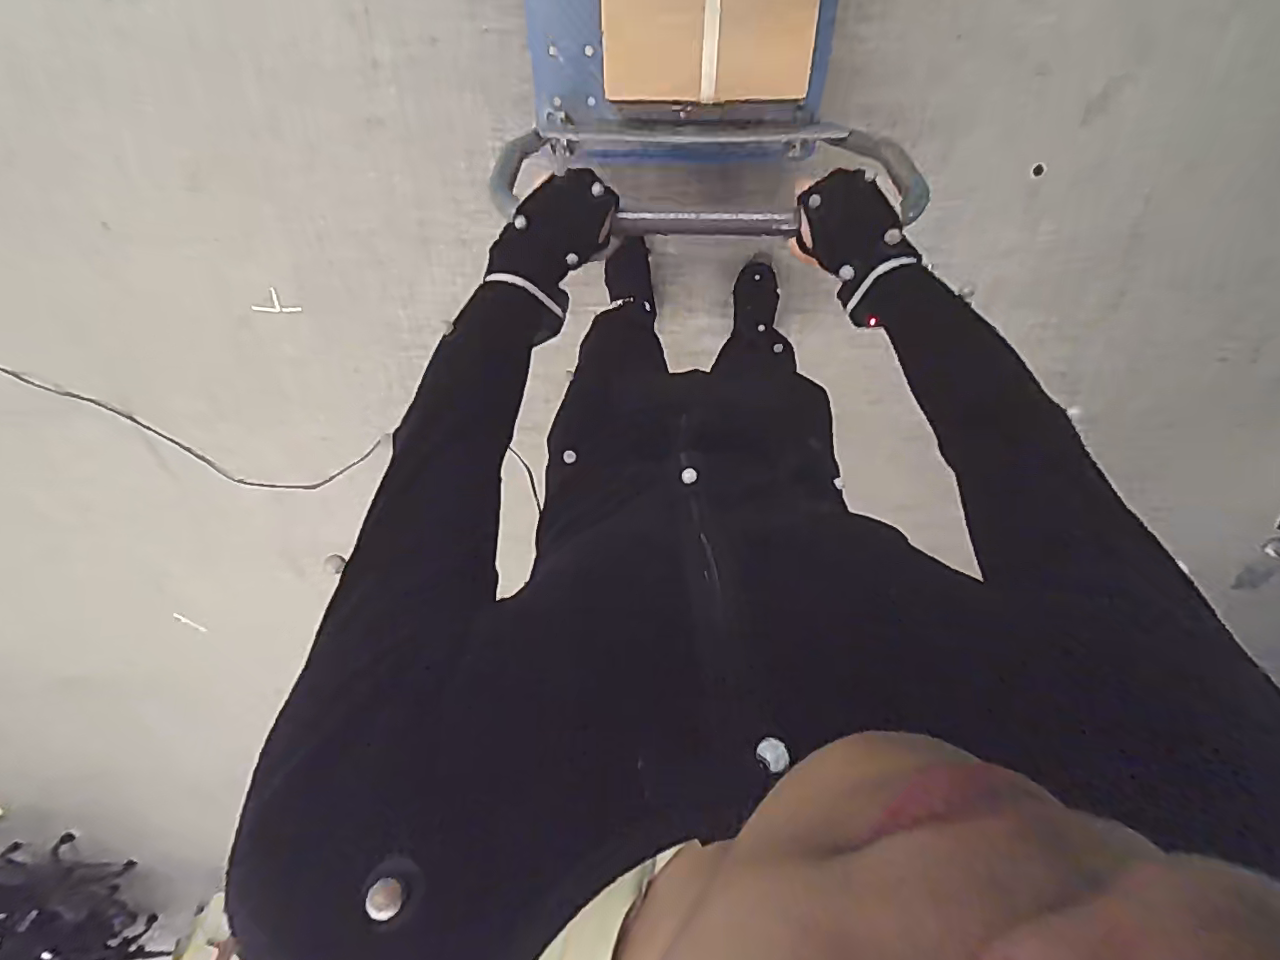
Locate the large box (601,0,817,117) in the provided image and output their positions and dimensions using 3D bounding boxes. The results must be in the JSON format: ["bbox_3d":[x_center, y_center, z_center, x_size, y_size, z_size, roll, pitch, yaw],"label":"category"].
[{"bbox_3d":[0.100,-0.829,0.860,0.320,0.320,0.408,-1,122,0],"label":"large box"}]
